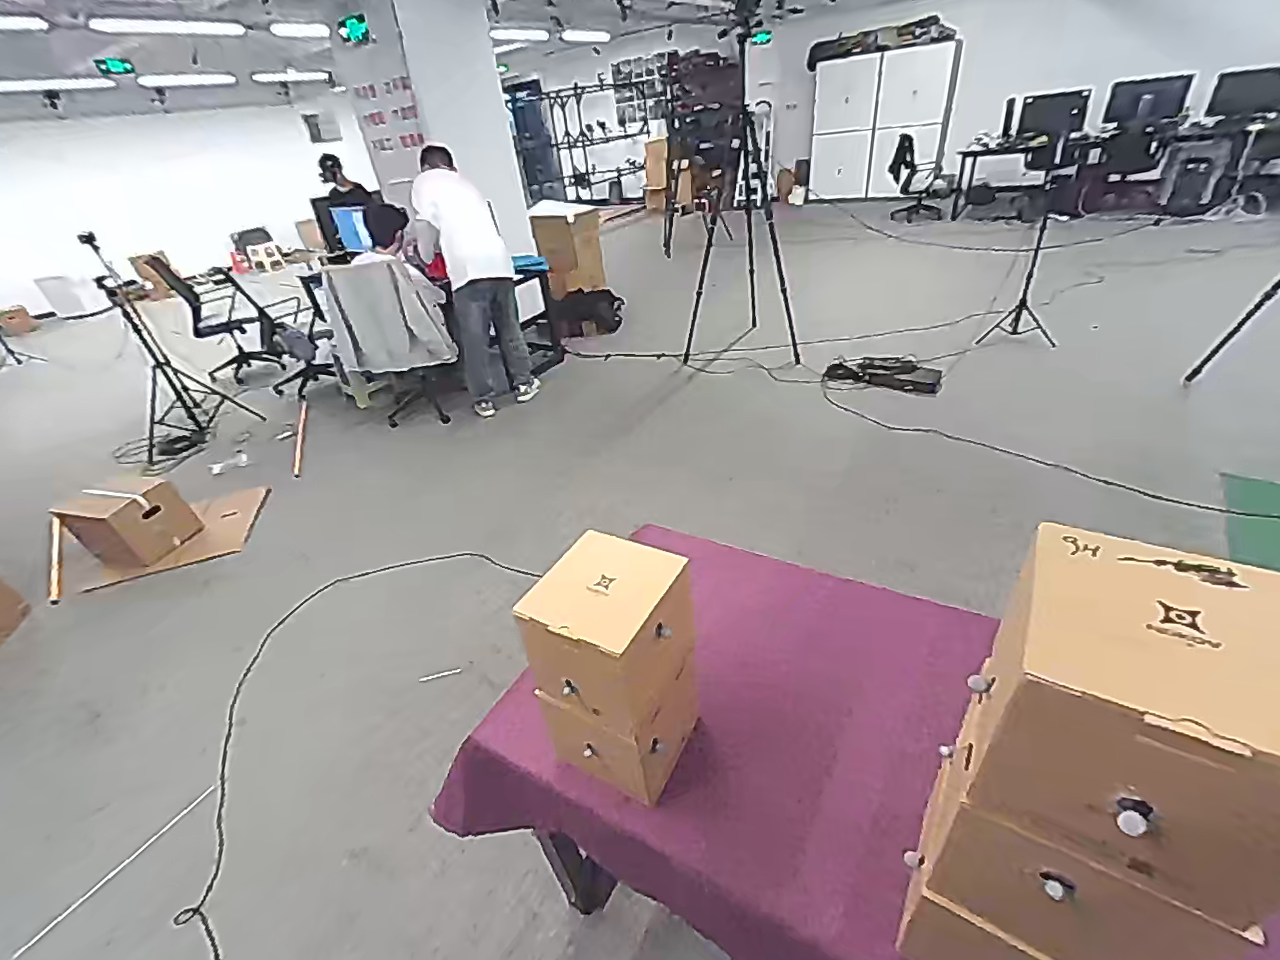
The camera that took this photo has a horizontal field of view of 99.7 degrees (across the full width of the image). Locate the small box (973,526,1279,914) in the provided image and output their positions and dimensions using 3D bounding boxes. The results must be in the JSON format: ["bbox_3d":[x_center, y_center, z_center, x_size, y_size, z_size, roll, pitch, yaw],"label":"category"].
[{"bbox_3d":[0.369,0.169,0.407,0.168,0.176,0.179,16,41,31],"label":"small box"}]

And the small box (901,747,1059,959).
[{"bbox_3d":[0.395,0.444,0.586,0.168,0.176,0.179,16,40,31],"label":"small box"}]

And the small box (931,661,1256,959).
[{"bbox_3d":[0.385,0.309,0.492,0.179,0.176,0.168,17,41,31],"label":"small box"}]

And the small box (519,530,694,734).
[{"bbox_3d":[-0.034,0.201,0.738,0.168,0.176,0.179,13,40,28],"label":"small box"}]
